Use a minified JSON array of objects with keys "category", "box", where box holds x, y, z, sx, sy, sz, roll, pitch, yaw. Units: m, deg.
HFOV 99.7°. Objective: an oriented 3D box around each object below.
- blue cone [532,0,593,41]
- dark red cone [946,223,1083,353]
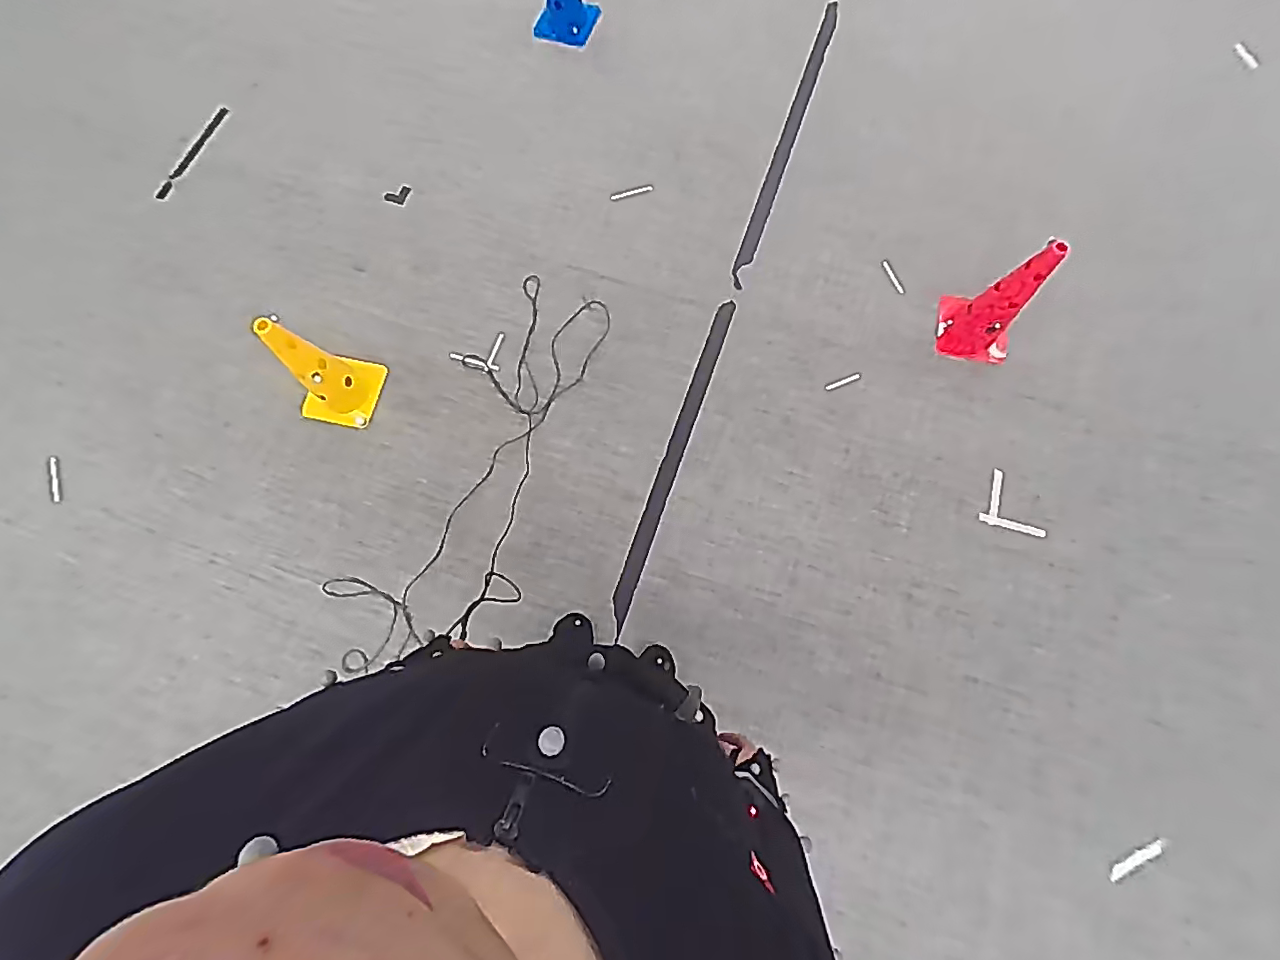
[{"category":"blue cone","box":[-0.278,-1.685,1.763,0.192,0.380,0.193,19,75,7]},{"category":"dark red cone","box":[0.976,-0.507,1.388,0.201,0.394,0.202,11,75,5]}]
